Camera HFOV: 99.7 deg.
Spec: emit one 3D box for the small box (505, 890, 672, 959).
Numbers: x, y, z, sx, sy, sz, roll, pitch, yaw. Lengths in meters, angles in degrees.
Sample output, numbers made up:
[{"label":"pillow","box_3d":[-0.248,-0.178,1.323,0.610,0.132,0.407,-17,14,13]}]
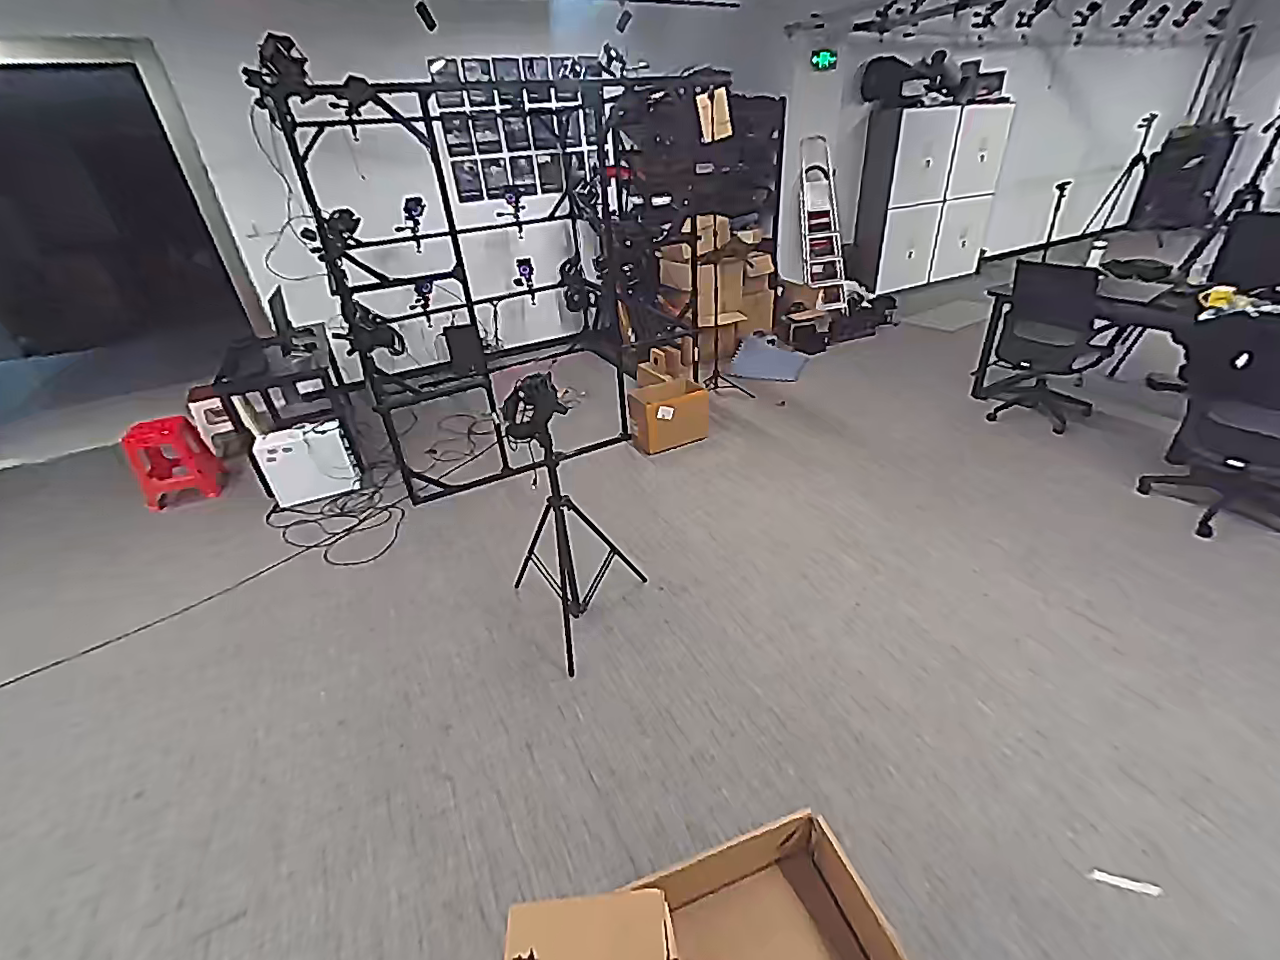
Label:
[{"label":"small box","box_3d":[-0.053,0.581,0.589,0.179,0.176,0.168,-3,34,-4]}]
